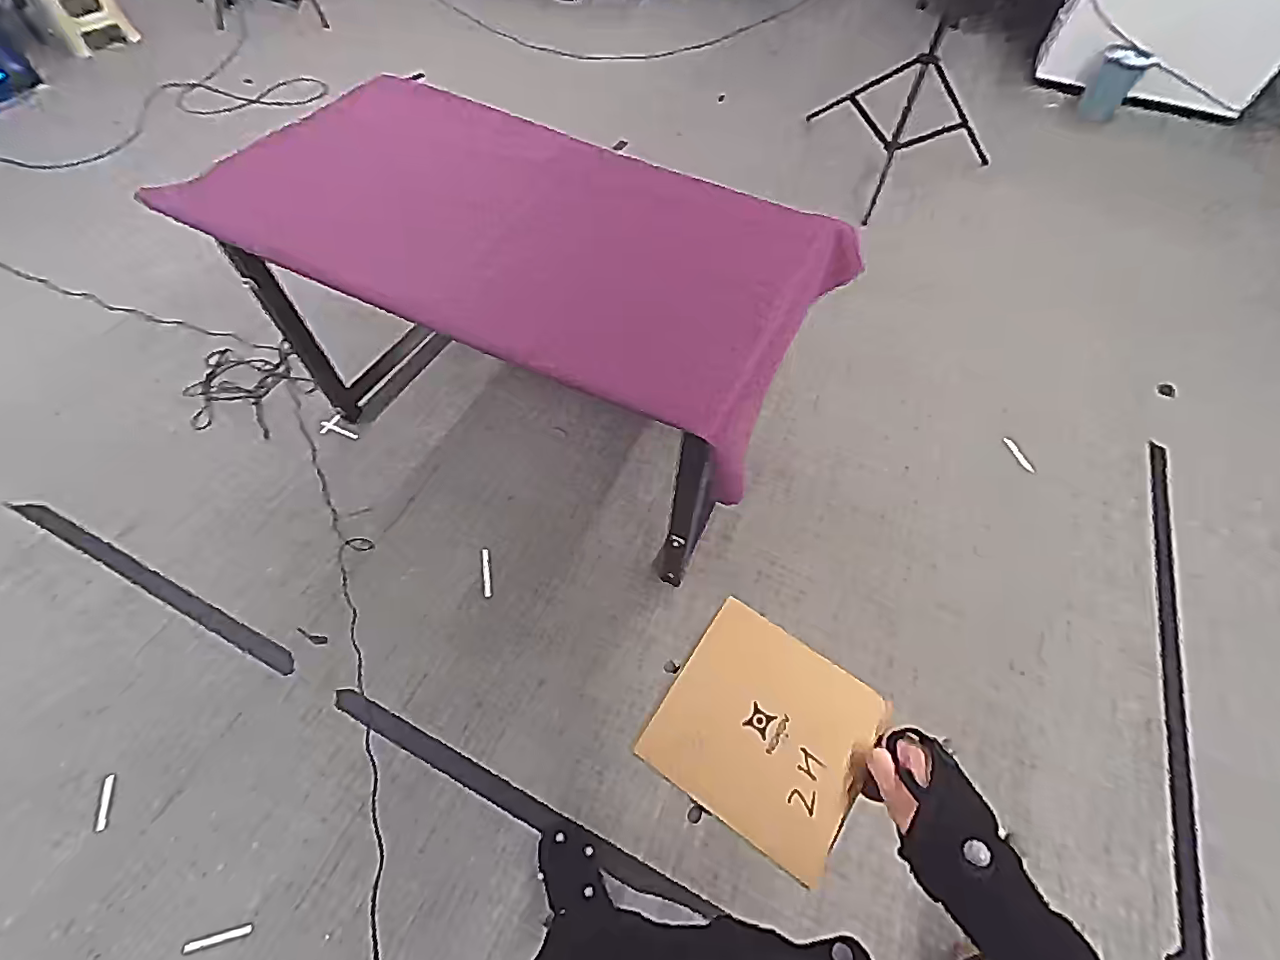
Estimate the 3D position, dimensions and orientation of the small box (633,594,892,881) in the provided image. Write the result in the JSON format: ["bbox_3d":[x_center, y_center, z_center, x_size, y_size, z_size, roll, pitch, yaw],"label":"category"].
[{"bbox_3d":[0.105,0.245,0.539,0.179,0.176,0.168,32,68,12],"label":"small box"}]

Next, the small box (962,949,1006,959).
[{"bbox_3d":[0.680,0.970,0.949,0.179,0.176,0.168,22,61,10],"label":"small box"}]
